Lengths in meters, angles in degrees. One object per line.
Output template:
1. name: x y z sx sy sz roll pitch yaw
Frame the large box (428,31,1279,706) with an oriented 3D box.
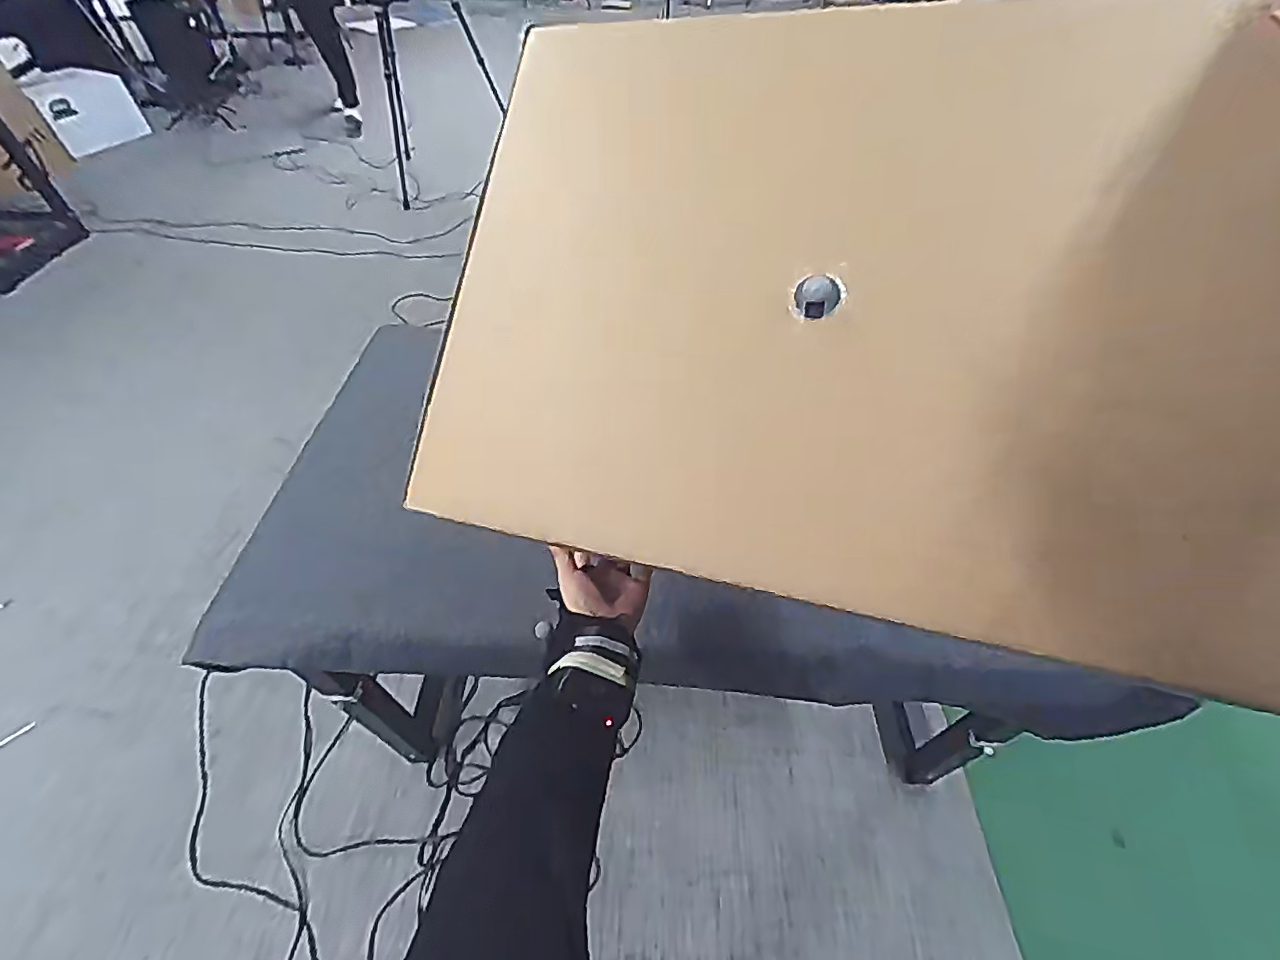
1. large box: 0.126 -0.061 0.417 0.408 0.320 0.320 9 82 15
